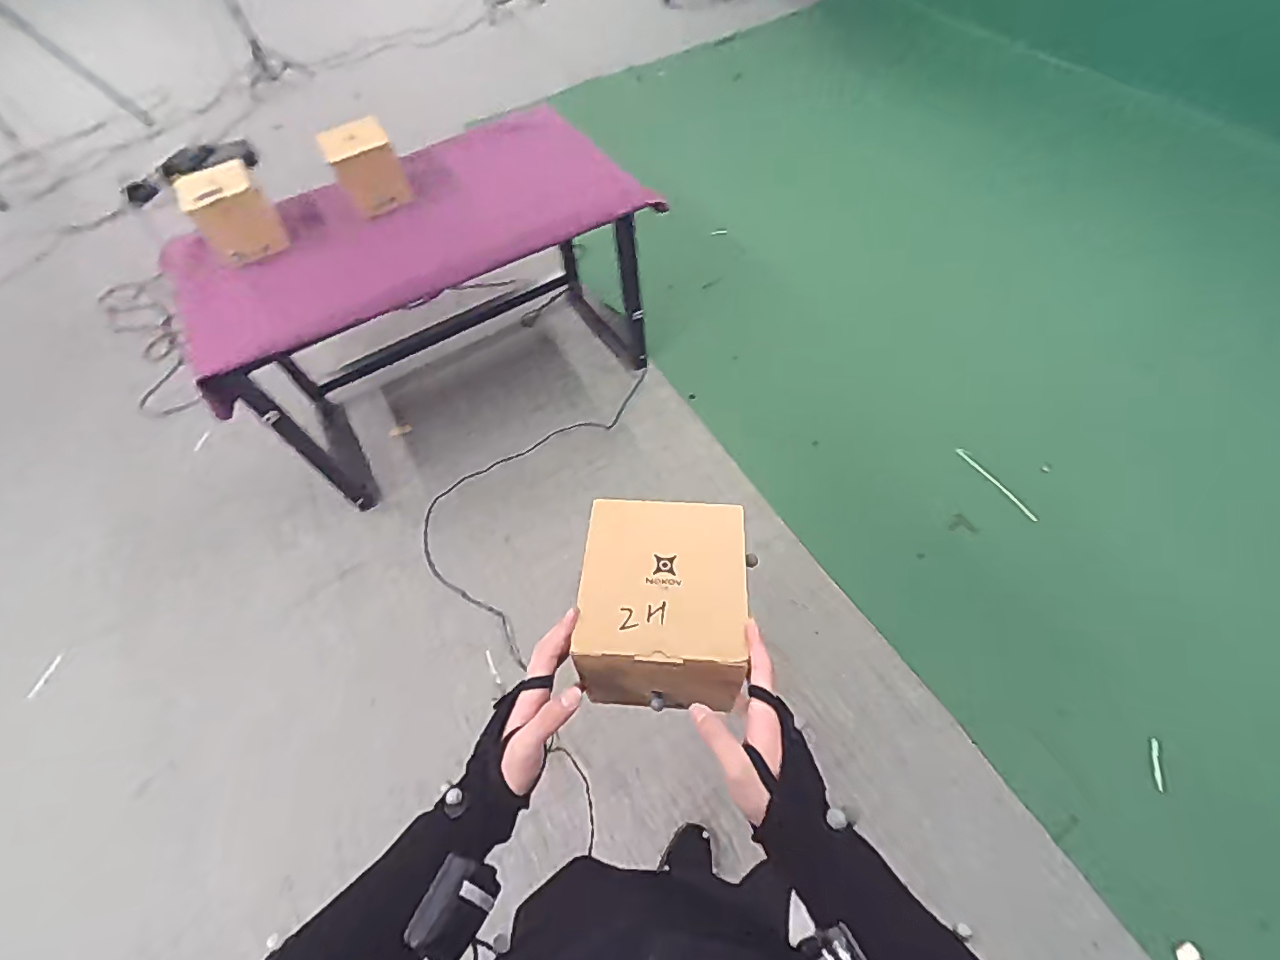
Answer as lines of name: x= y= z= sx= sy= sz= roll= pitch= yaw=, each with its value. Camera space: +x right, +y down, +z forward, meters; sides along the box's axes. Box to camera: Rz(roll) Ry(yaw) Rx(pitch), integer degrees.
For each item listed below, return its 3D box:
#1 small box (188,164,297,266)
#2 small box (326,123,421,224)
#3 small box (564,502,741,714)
small box: x=-1.057 y=-0.701 z=1.449 sx=0.168 sy=0.176 sz=0.179 roll=-28 pitch=60 yaw=-13
small box: x=-0.746 y=-0.861 z=1.524 sx=0.168 sy=0.176 sz=0.179 roll=-28 pitch=61 yaw=-11
small box: x=0.020 y=0.144 z=0.605 sx=0.168 sy=0.176 sz=0.179 roll=1 pitch=53 yaw=5
